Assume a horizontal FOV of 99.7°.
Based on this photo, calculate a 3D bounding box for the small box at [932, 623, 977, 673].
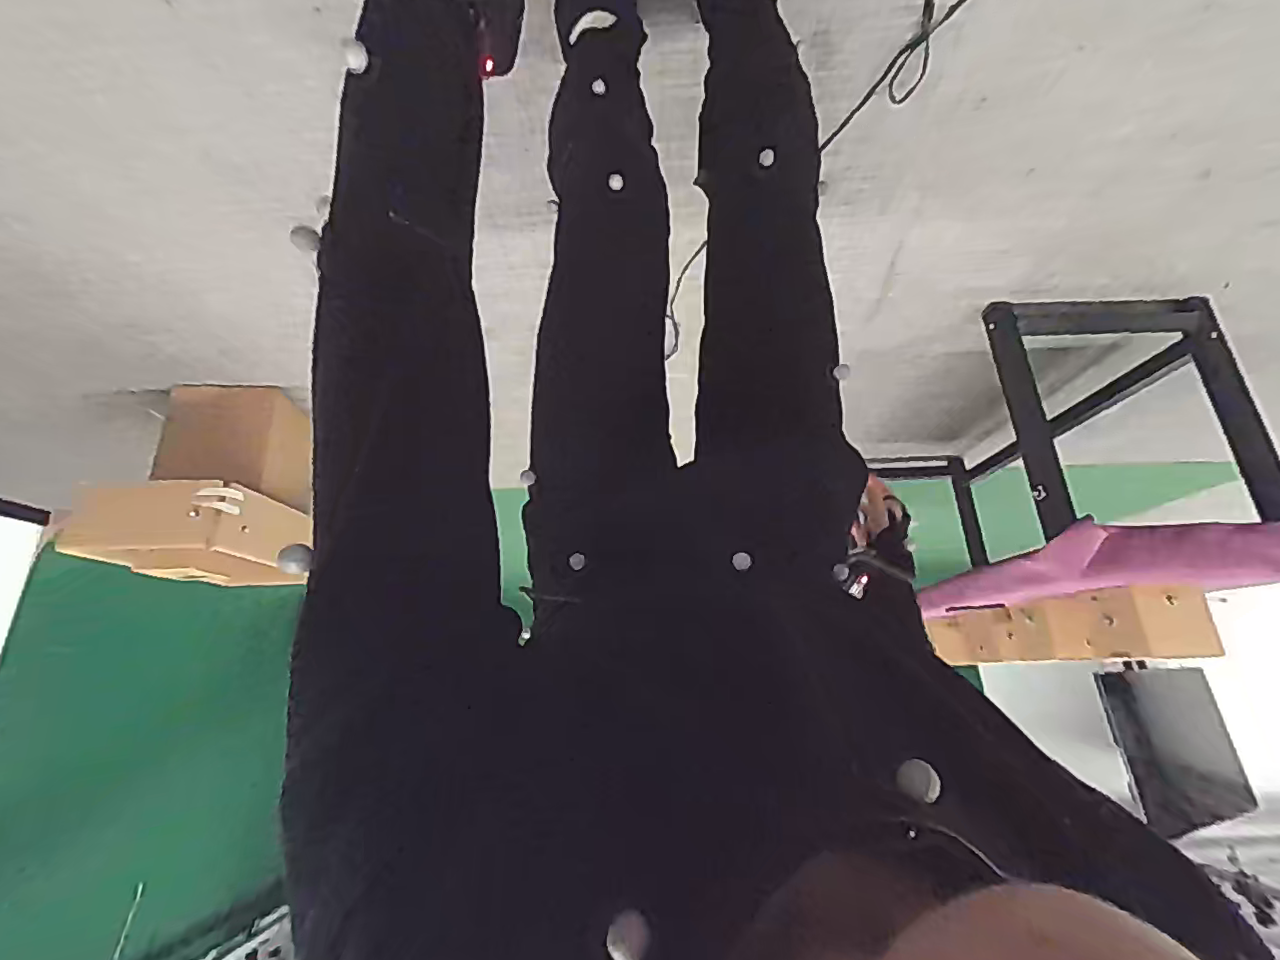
[{"bbox_3d":[1.204,0.624,2.018,0.168,0.176,0.179,-10,158,19],"label":"small box"}]

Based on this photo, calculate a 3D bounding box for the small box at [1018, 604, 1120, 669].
[{"bbox_3d":[1.222,0.444,1.532,0.179,0.176,0.168,-2,159,4],"label":"small box"}]

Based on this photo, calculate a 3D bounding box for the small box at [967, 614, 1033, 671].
[{"bbox_3d":[1.212,0.534,1.776,0.168,0.176,0.179,0,160,-4],"label":"small box"}]

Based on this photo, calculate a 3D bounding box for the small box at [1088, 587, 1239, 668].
[{"bbox_3d":[1.222,0.351,1.281,0.179,0.176,0.168,0,160,-1],"label":"small box"}]
